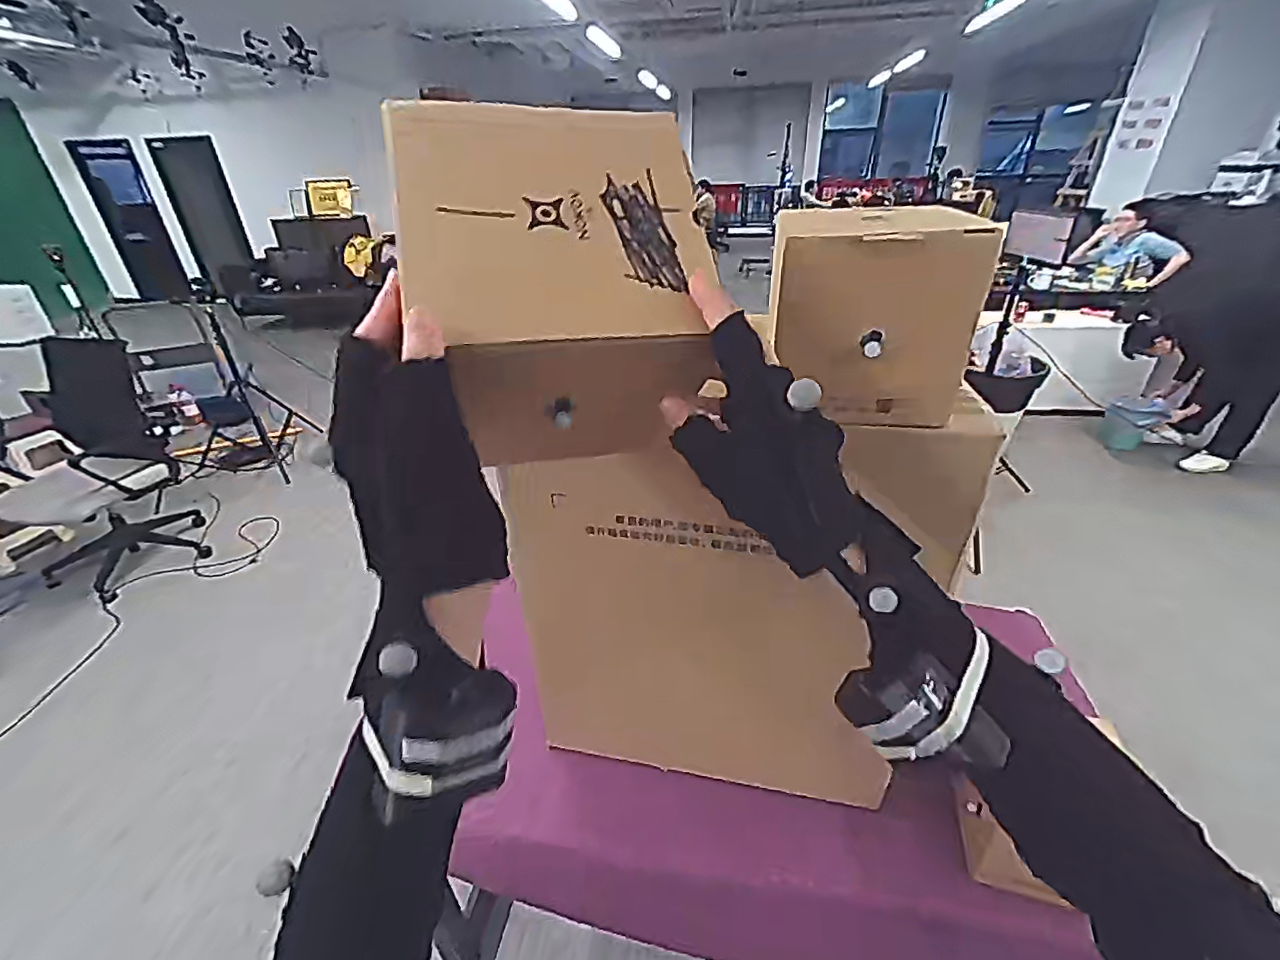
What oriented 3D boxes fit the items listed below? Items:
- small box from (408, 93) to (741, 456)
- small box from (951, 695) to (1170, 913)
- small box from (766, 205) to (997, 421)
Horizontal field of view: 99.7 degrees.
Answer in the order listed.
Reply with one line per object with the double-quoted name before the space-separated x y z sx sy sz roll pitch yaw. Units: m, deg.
"small box" -0.054 -0.127 0.382 0.179 0.176 0.168 -6 71 -14
"small box" 0.542 0.432 0.730 0.168 0.176 0.179 8 30 16
"small box" 0.217 -0.168 0.540 0.168 0.176 0.179 3 32 10
